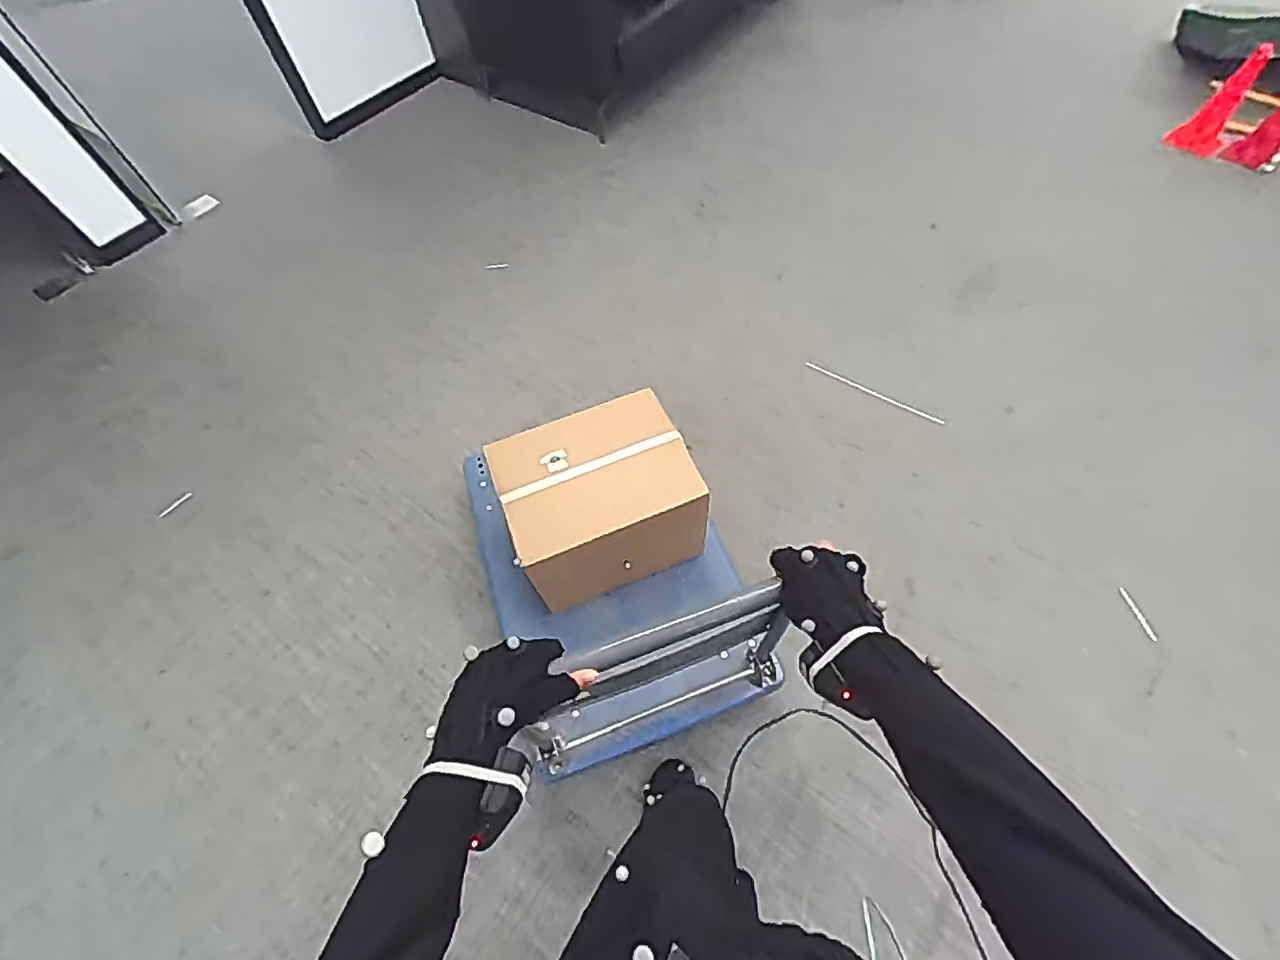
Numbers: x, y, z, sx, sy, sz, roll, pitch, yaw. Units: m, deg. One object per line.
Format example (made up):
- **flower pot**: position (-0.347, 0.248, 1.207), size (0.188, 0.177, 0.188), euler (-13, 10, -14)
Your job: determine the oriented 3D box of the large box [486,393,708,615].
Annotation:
- **large box**: position (-0.090, 0.064, 1.272), size (0.408, 0.320, 0.320), euler (-22, 59, -9)
